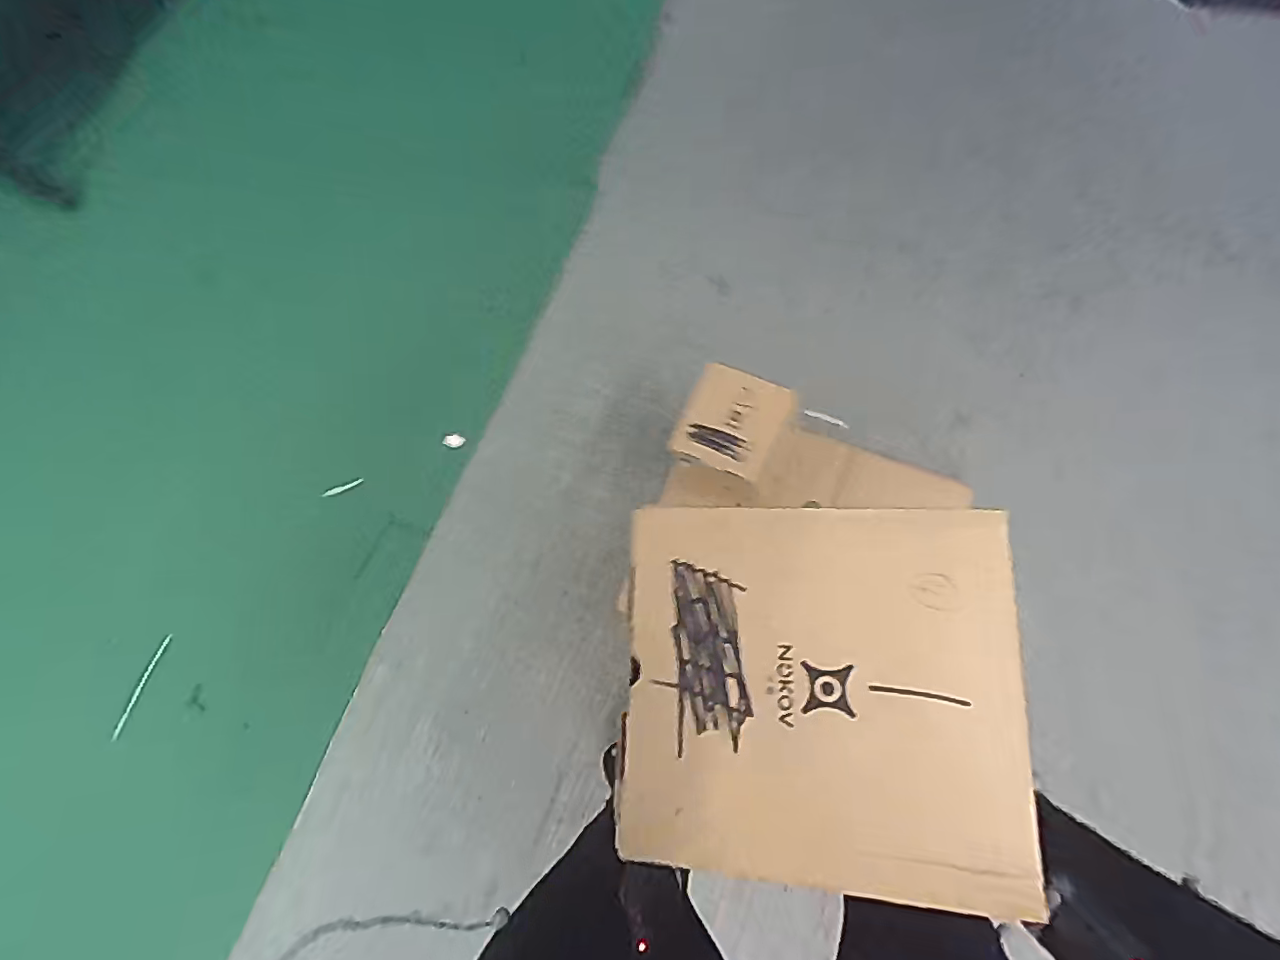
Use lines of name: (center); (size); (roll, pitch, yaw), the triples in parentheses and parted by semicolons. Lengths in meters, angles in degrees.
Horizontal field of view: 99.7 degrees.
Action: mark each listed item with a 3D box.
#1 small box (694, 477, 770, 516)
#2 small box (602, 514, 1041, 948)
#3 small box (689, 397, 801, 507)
small box: (0.249, -0.017, 1.311); (0.179, 0.176, 0.168); (23, 82, 16)
small box: (0.089, 0.115, 0.315); (0.179, 0.176, 0.168); (-1, 78, 13)
small box: (0.225, -0.051, 1.155); (0.179, 0.176, 0.168); (24, 83, 16)
